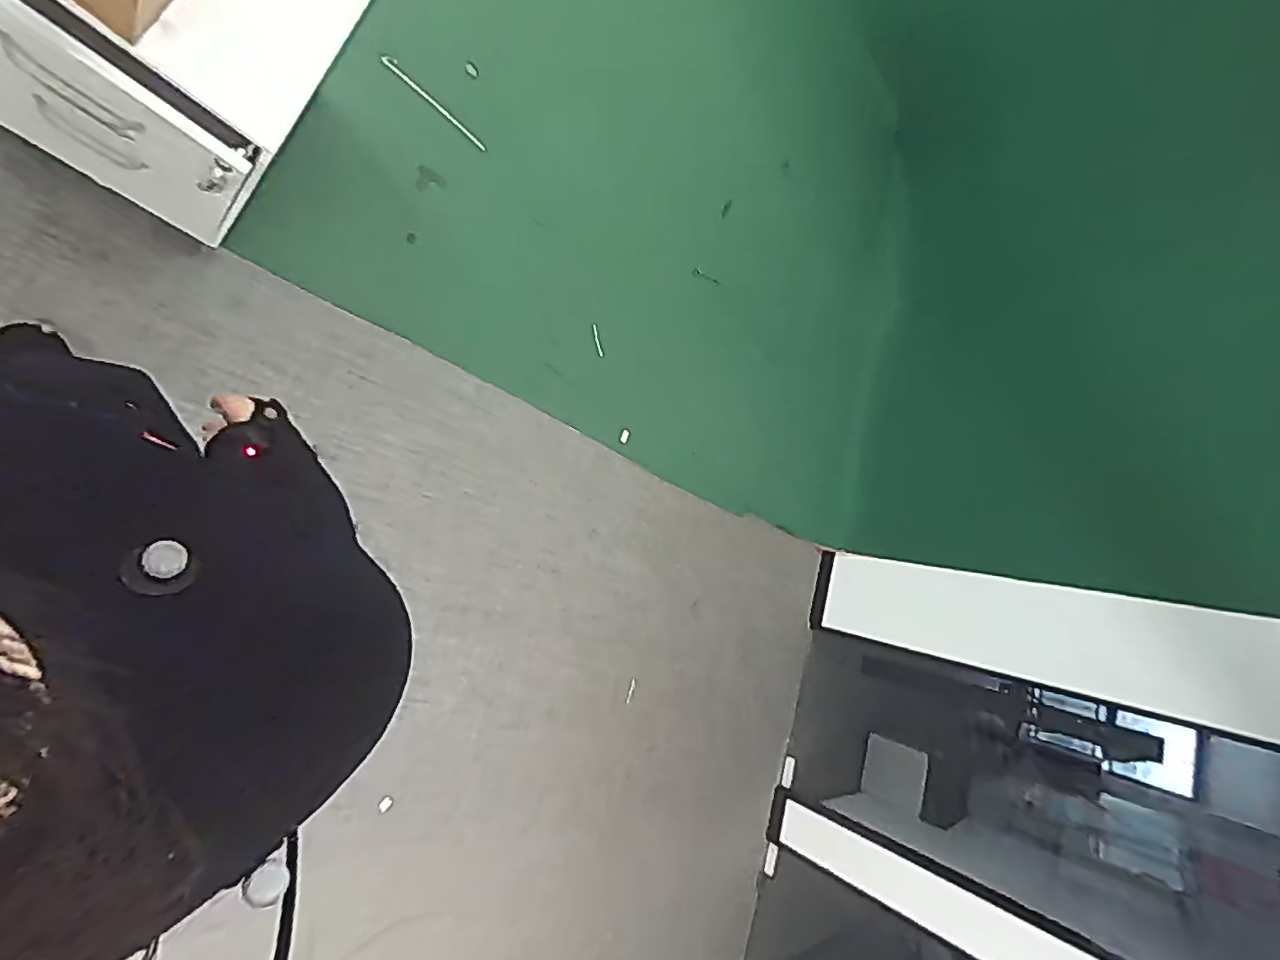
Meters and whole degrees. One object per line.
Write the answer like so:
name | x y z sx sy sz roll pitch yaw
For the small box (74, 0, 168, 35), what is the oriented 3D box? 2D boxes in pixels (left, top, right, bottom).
small box | -0.583 -0.630 0.559 0.179 0.176 0.168 35 68 -42
